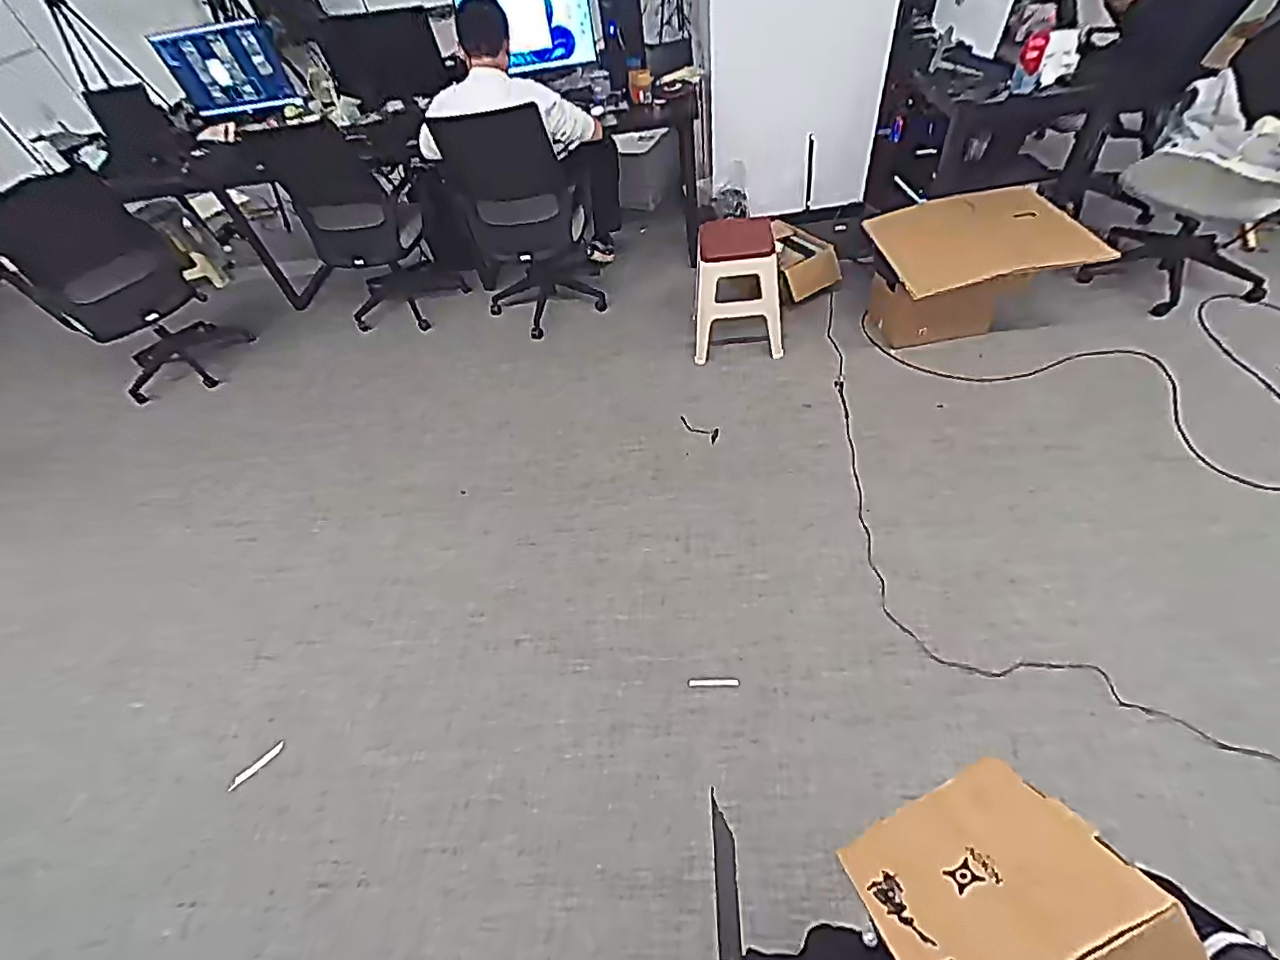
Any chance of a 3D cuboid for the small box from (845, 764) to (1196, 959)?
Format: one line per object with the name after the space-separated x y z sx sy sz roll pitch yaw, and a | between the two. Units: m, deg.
0.308 0.384 0.436 0.179 0.168 0.176 -29 93 -1 | small box
